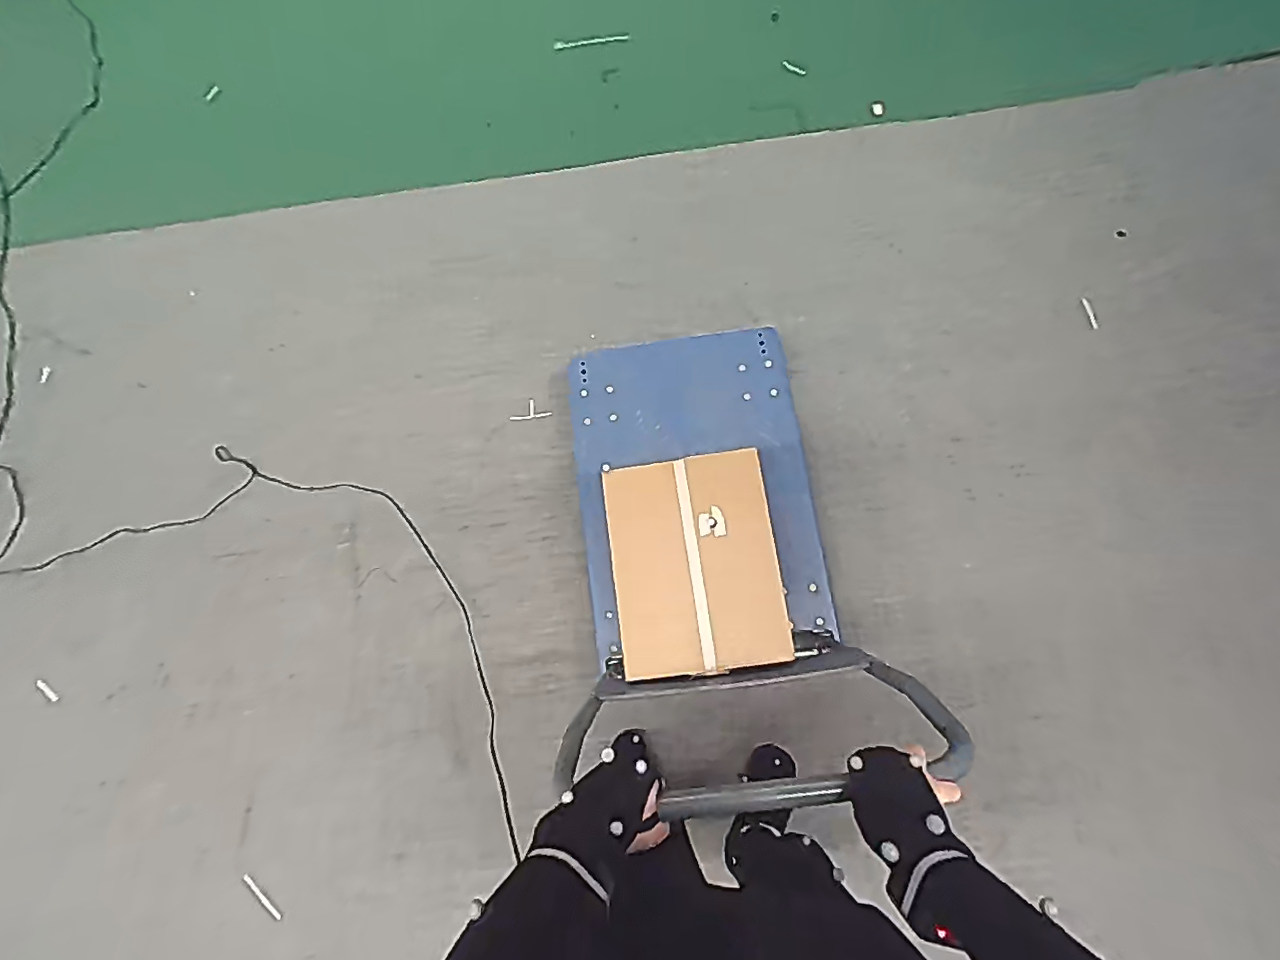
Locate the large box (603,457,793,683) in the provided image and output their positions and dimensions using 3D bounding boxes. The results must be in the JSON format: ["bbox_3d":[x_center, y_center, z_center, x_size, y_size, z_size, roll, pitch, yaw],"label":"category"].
[{"bbox_3d":[0.120,0.203,1.192,0.320,0.320,0.408,-9,75,3],"label":"large box"}]
